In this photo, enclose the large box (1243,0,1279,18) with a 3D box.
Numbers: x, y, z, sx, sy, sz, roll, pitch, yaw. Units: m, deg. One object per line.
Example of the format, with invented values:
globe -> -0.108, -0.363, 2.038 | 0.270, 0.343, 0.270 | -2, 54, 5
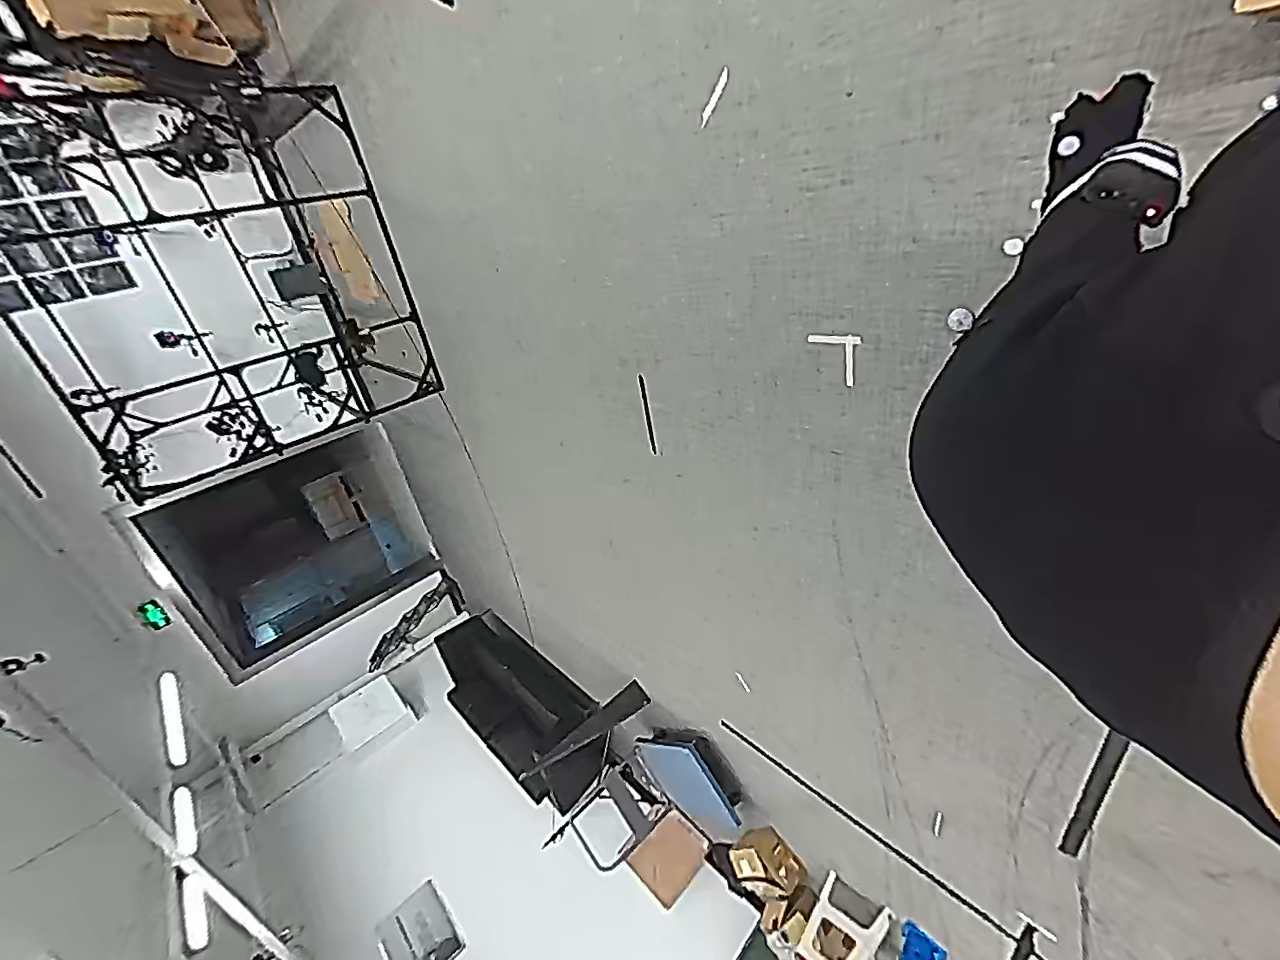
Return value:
large box -> 0.984, -0.753, 0.570 | 0.408, 0.320, 0.320 | 20, 132, 43
